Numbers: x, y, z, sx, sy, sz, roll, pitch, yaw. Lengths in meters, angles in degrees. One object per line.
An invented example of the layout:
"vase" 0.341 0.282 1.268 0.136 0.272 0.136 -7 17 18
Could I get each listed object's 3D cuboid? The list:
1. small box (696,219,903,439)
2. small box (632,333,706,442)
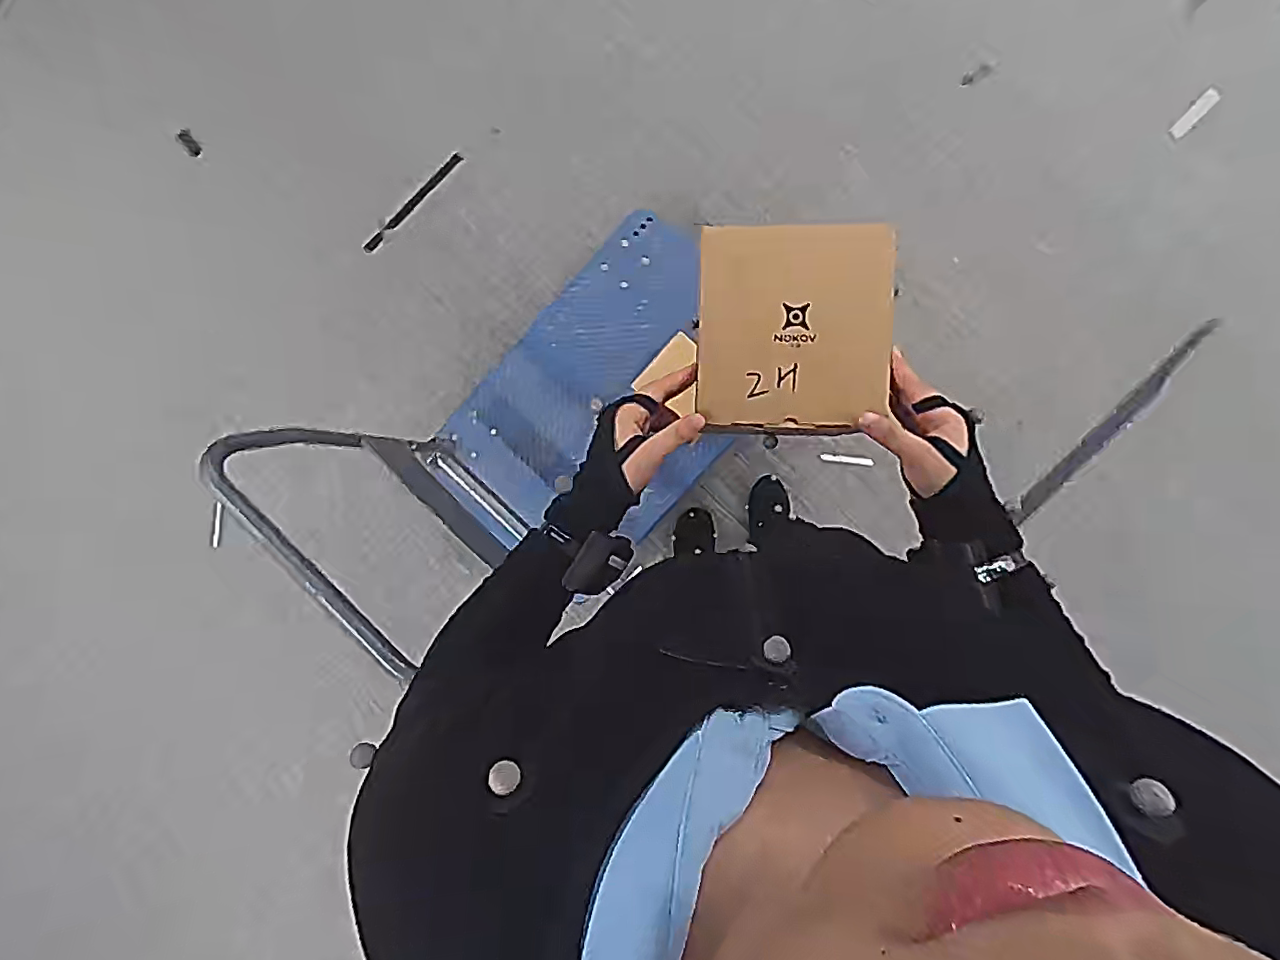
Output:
"small box" 0.144 -0.136 0.541 0.168 0.176 0.179 3 92 6
"small box" 0.104 -0.203 1.252 0.179 0.176 0.168 42 92 5
